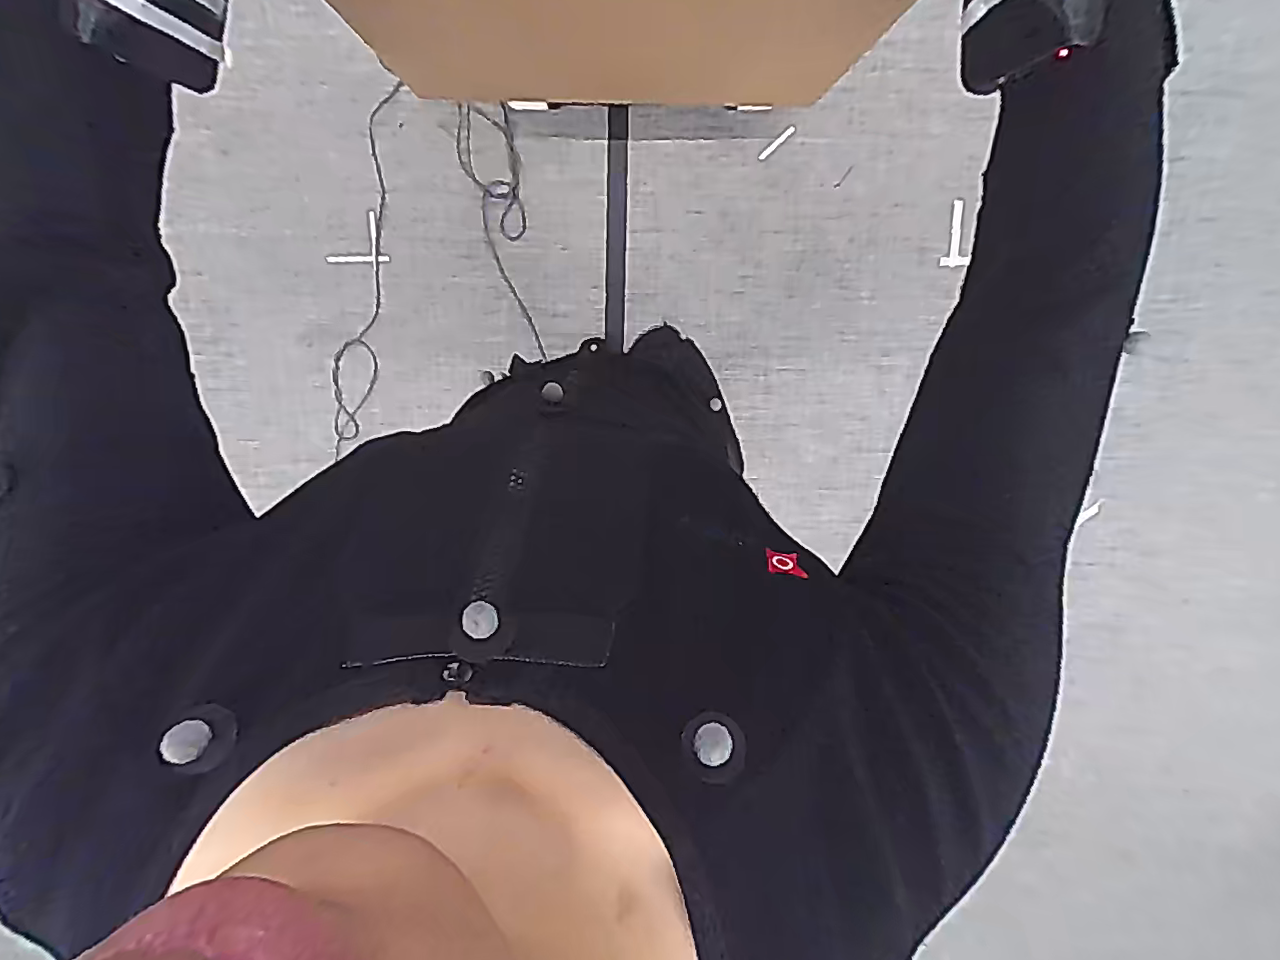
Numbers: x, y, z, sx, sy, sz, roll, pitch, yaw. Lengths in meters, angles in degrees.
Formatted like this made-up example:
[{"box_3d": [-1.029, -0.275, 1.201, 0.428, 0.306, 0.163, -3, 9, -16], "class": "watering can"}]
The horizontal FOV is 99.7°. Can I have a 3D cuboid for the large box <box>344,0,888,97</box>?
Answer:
[{"box_3d": [-0.018, -0.491, 0.362, 0.408, 0.320, 0.320, -1, 108, -2], "class": "large box"}]
